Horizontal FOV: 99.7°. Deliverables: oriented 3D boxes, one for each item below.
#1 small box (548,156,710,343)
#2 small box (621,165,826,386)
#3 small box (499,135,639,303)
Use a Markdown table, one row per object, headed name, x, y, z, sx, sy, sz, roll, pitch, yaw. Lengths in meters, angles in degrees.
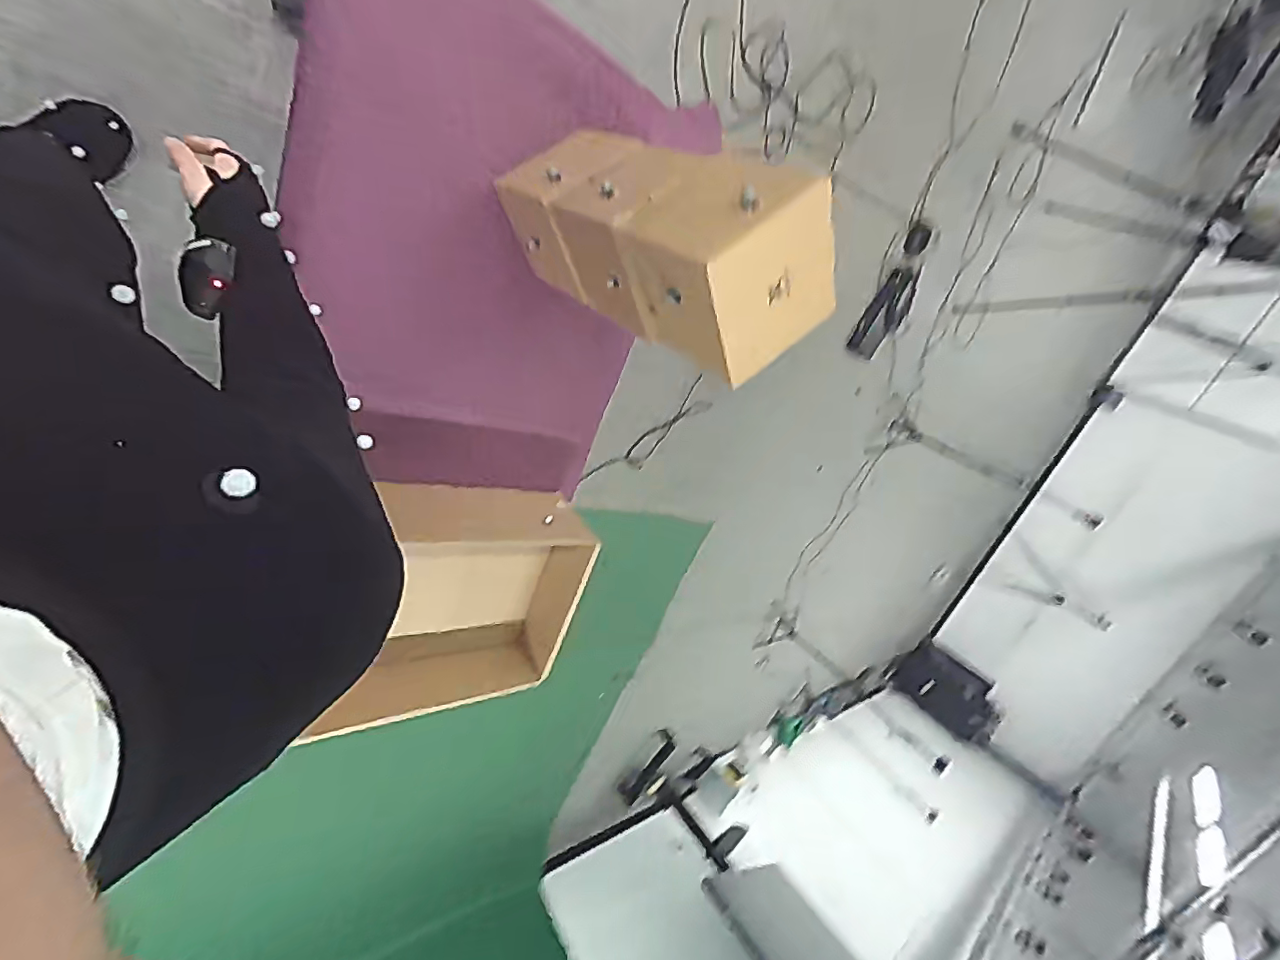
| name | x | y | z | sx | sy | sz | roll | pitch | yaw |
| --- | --- | --- | --- | --- | --- | --- | --- | --- | --- |
| small box | -0.001 | -0.328 | 0.754 | 0.168 | 0.176 | 0.179 | -37 | 140 | -13 |
| small box | 0.097 | -0.251 | 0.652 | 0.179 | 0.176 | 0.168 | -39 | 139 | -12 |
| small box | -0.099 | -0.414 | 0.852 | 0.179 | 0.176 | 0.168 | -38 | 140 | -14 |
